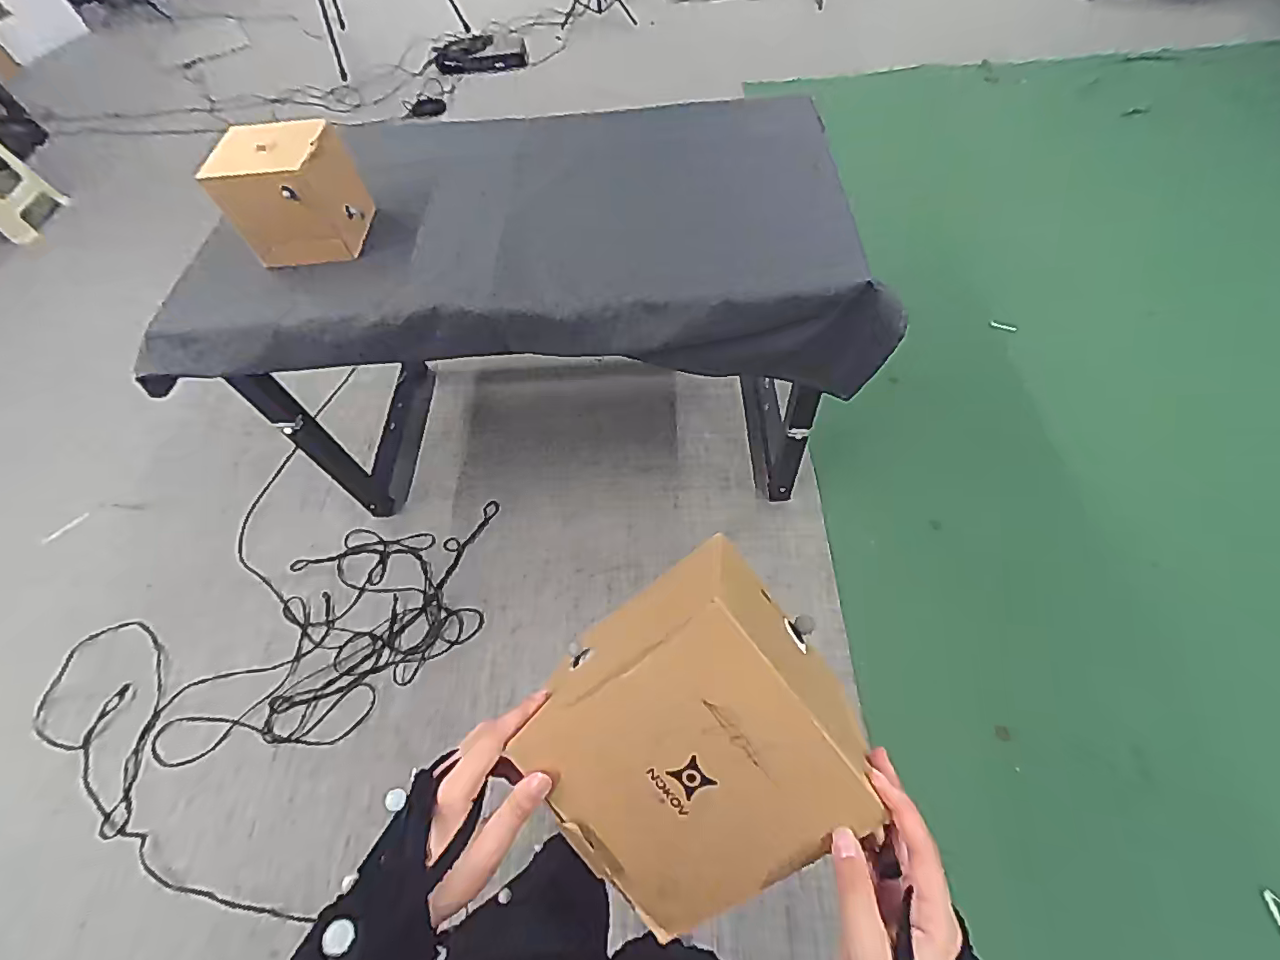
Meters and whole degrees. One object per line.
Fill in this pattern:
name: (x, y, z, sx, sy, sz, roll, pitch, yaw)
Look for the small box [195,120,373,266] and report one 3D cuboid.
small box: (-0.611, -0.500, 0.955, 0.179, 0.176, 0.168, -4, 58, 2)
